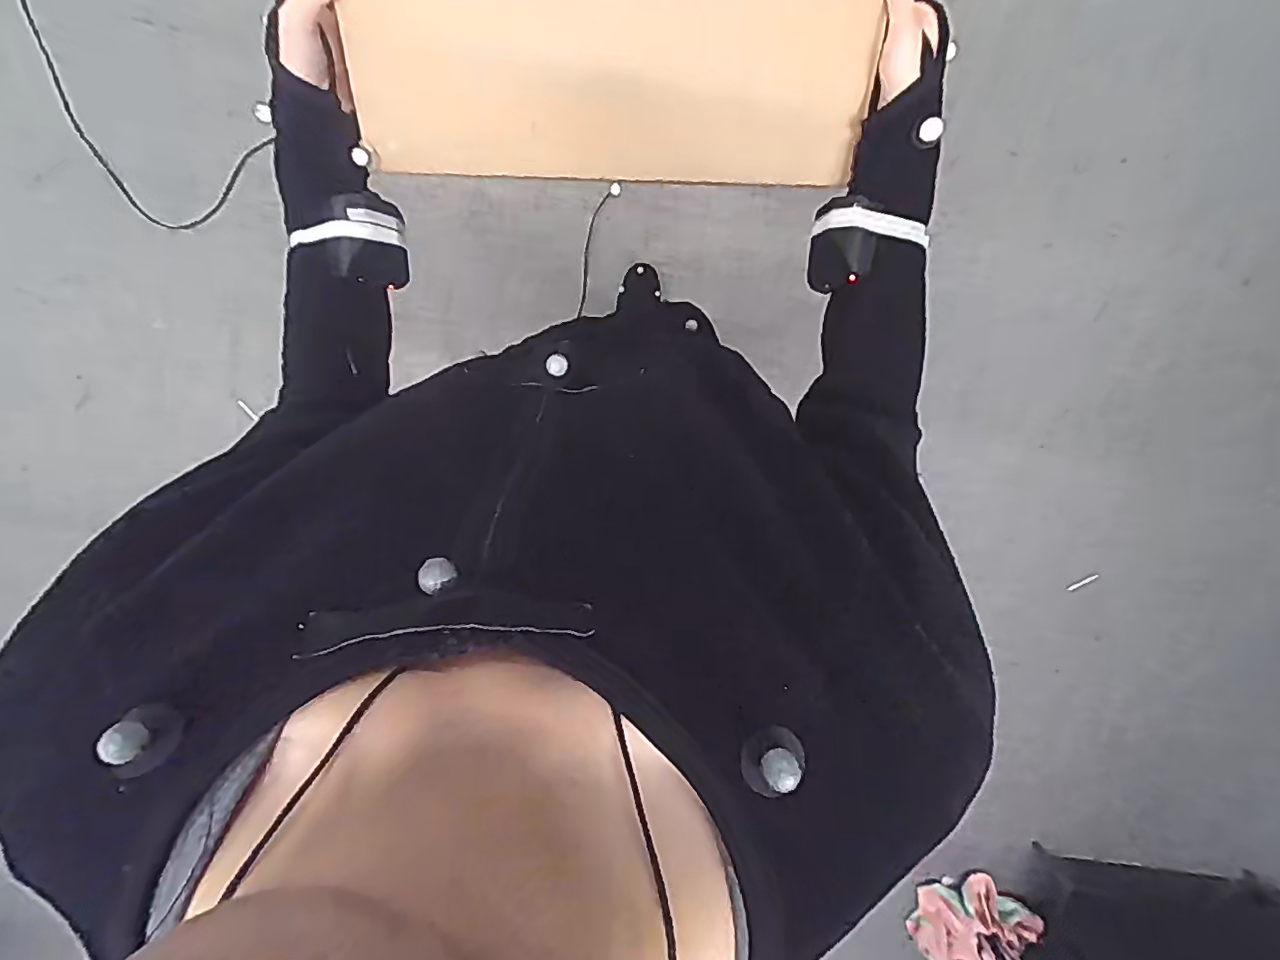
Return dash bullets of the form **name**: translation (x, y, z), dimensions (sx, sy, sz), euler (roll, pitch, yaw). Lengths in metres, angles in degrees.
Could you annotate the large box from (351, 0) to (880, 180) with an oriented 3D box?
- **large box**: translation (-0.018, -0.470, 0.512), dimensions (0.408, 0.320, 0.320), euler (0, 120, -2)
